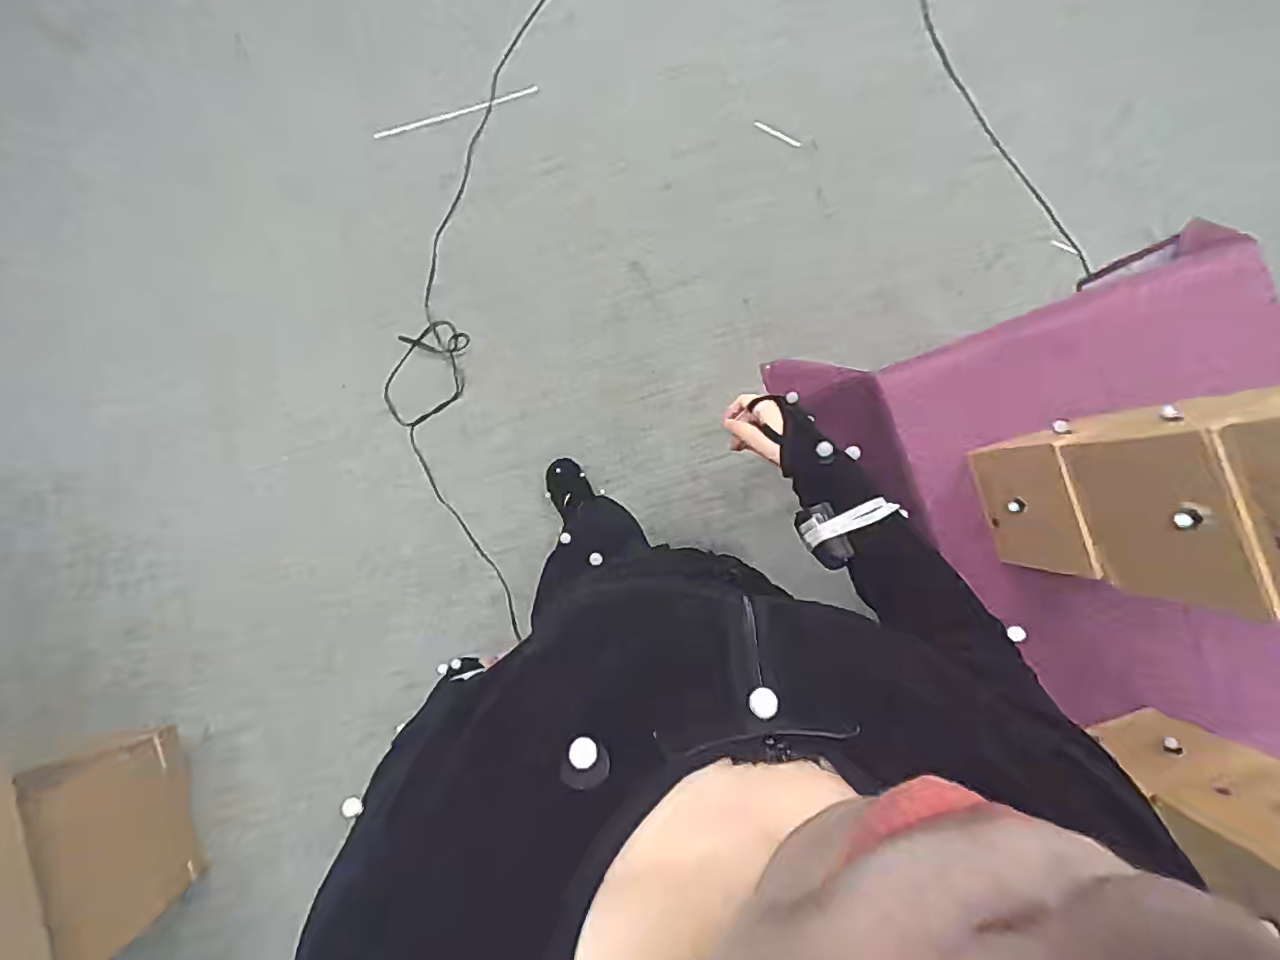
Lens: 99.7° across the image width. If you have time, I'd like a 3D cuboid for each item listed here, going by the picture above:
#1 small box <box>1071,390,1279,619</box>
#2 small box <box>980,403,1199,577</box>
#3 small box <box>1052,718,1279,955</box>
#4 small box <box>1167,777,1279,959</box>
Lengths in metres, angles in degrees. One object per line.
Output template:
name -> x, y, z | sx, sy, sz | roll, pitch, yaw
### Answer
small box -> 0.580, 0.015, 0.532 | 0.168, 0.176, 0.179 | -18, 89, 0
small box -> 0.576, 0.014, 0.695 | 0.179, 0.176, 0.168 | -16, 89, -1
small box -> 0.678, 0.429, 0.689 | 0.168, 0.176, 0.179 | -18, 89, -1
small box -> 0.678, 0.418, 0.524 | 0.168, 0.176, 0.179 | -14, 89, -1
